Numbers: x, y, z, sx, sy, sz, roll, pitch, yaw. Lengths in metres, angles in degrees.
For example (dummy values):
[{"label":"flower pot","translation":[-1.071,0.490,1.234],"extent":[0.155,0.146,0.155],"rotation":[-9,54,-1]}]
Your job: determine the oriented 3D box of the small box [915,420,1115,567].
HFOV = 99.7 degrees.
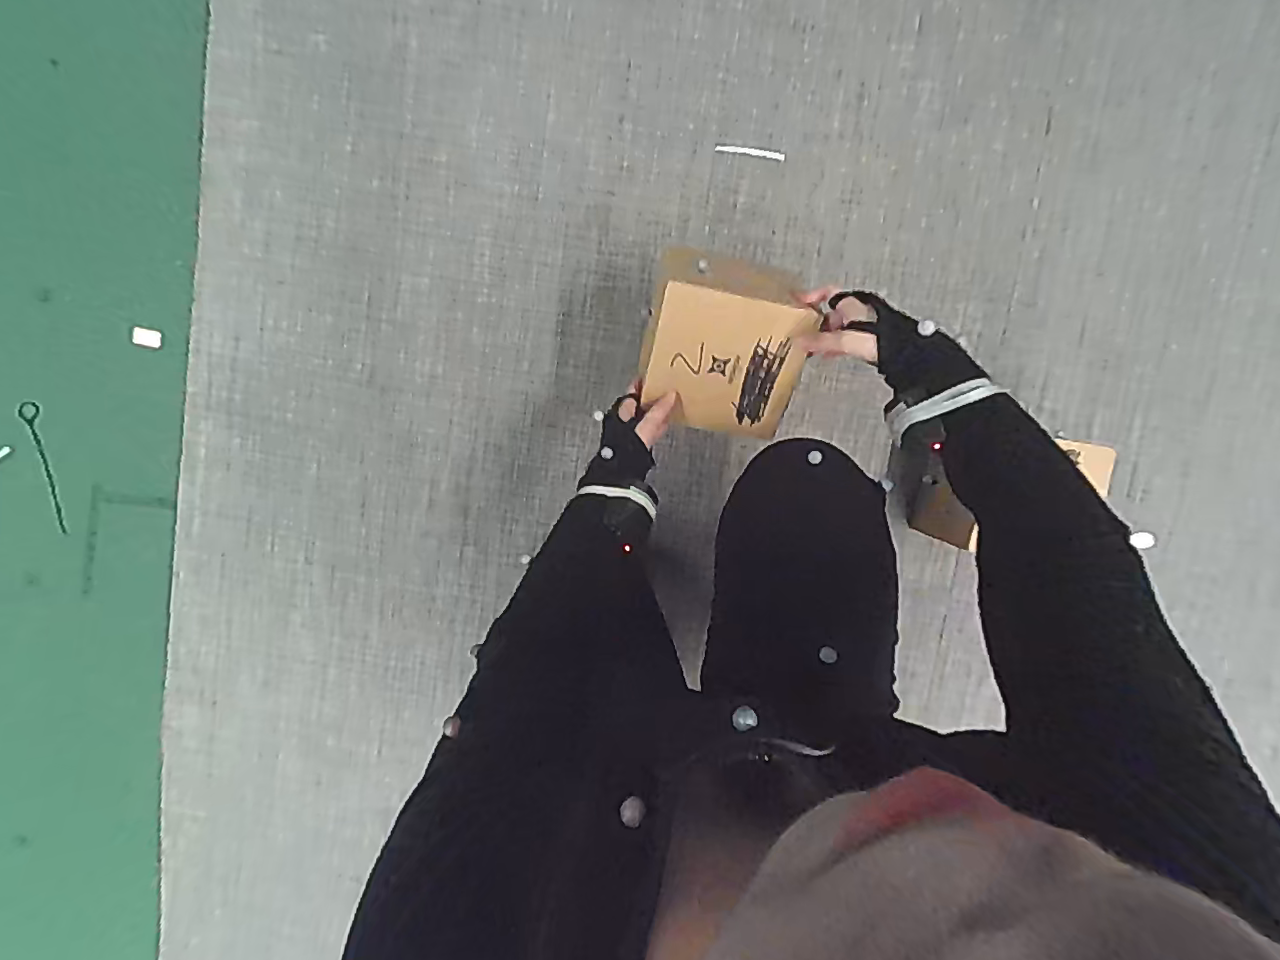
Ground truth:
[{"label":"small box","translation":[0.544,0.010,0.814],"extent":[0.168,0.176,0.179],"rotation":[12,97,1]}]
